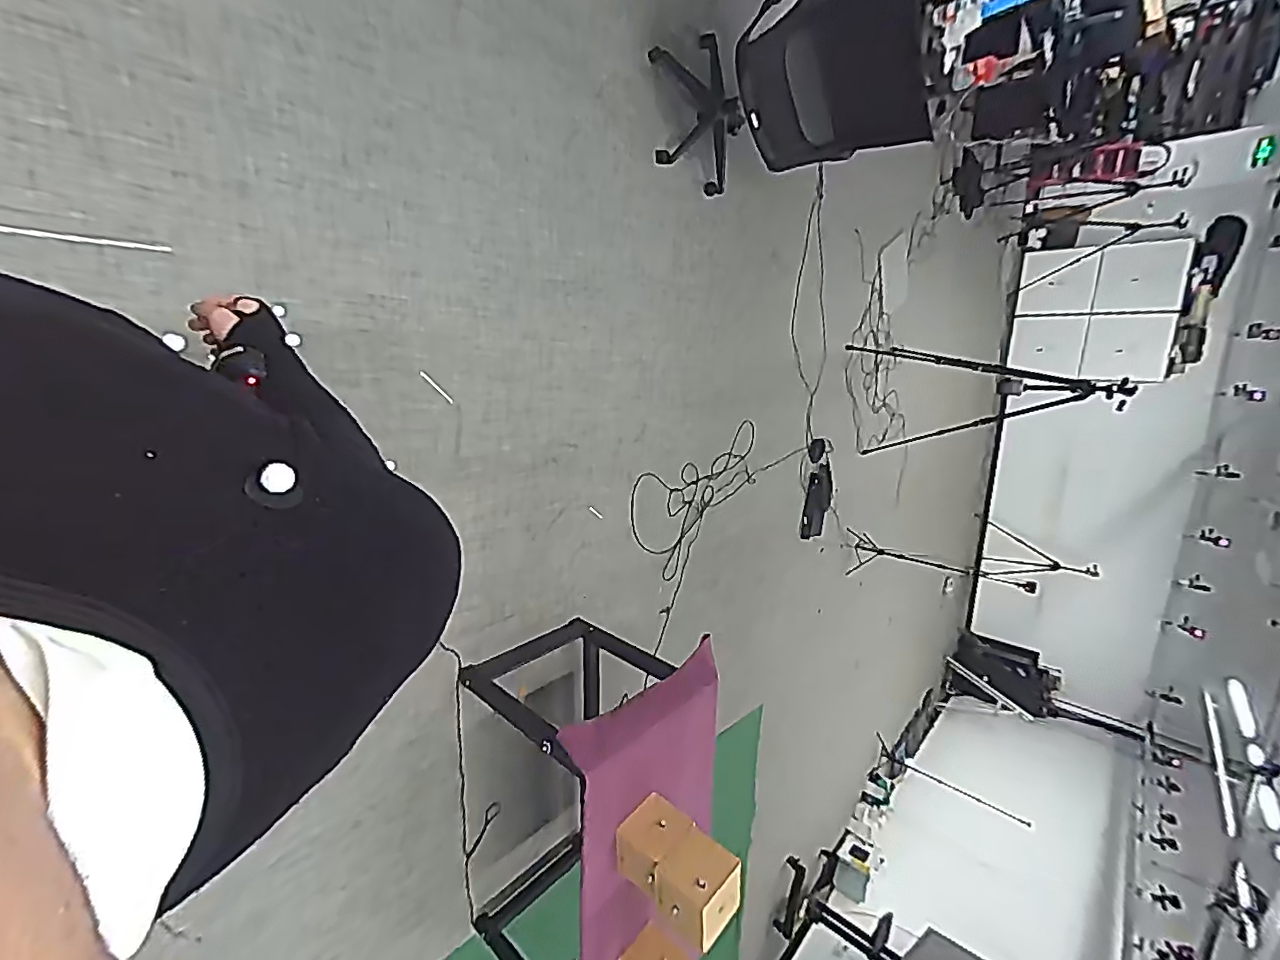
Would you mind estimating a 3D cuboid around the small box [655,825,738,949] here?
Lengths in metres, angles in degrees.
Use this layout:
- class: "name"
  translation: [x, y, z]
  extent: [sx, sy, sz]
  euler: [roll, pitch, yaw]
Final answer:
- class: "small box"
  translation: [0.154, 1.121, 1.503]
  extent: [0.179, 0.176, 0.168]
  euler: [-18, 114, -45]

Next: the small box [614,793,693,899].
- class: "small box"
  translation: [0.043, 1.090, 1.623]
  extent: [0.179, 0.176, 0.168]
  euler: [-20, 113, -45]

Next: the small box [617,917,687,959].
- class: "small box"
  translation: [0.033, 1.576, 1.732]
  extent: [0.179, 0.176, 0.168]
  euler: [-16, 110, -48]
